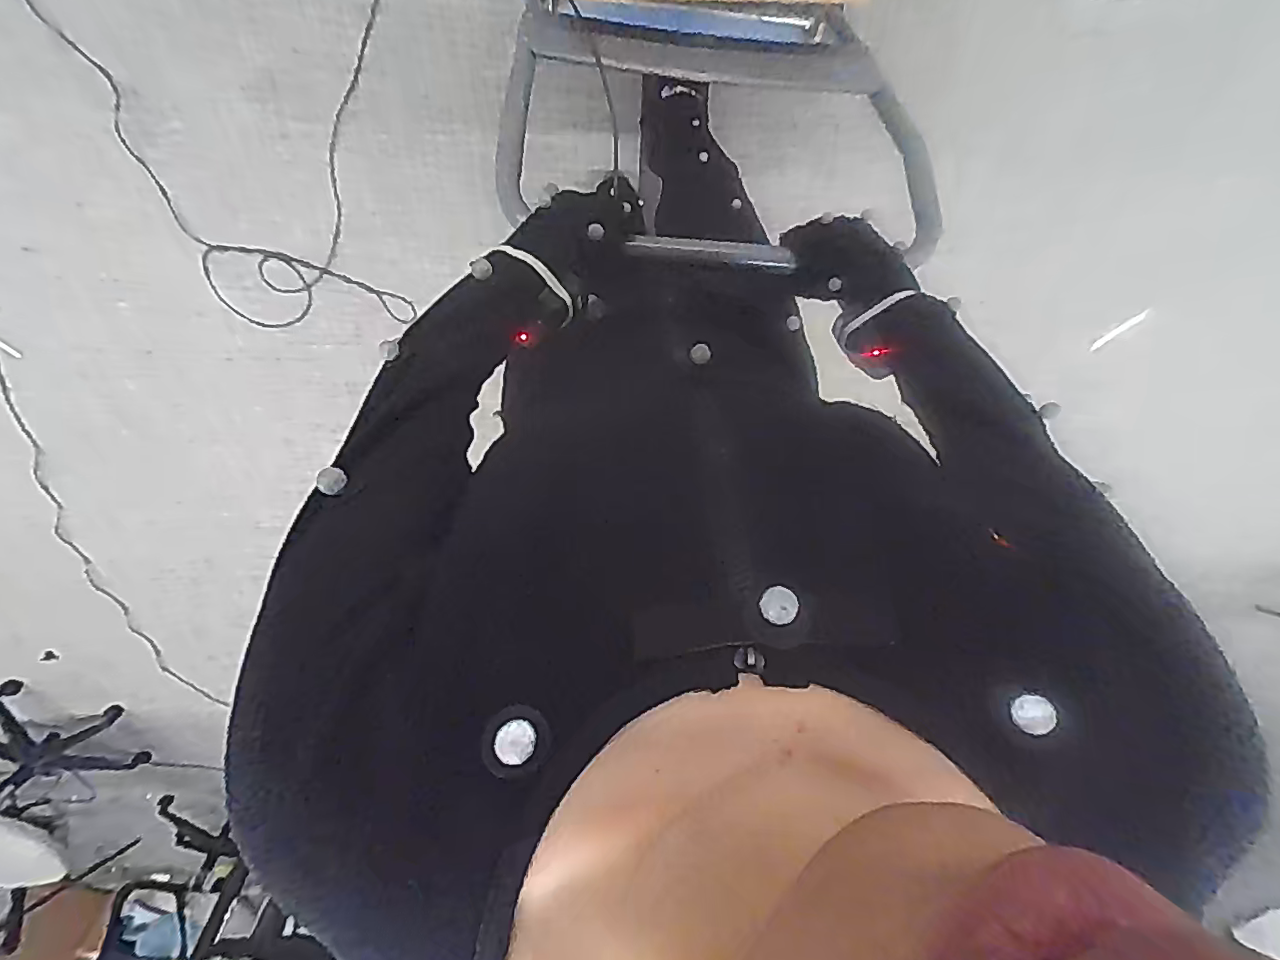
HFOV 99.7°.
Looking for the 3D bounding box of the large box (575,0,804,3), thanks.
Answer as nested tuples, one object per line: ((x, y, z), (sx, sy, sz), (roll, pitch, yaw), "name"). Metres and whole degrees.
((0.091, -0.847, 0.682), (0.408, 0.320, 0.320), (-2, 145, -3), "large box")
